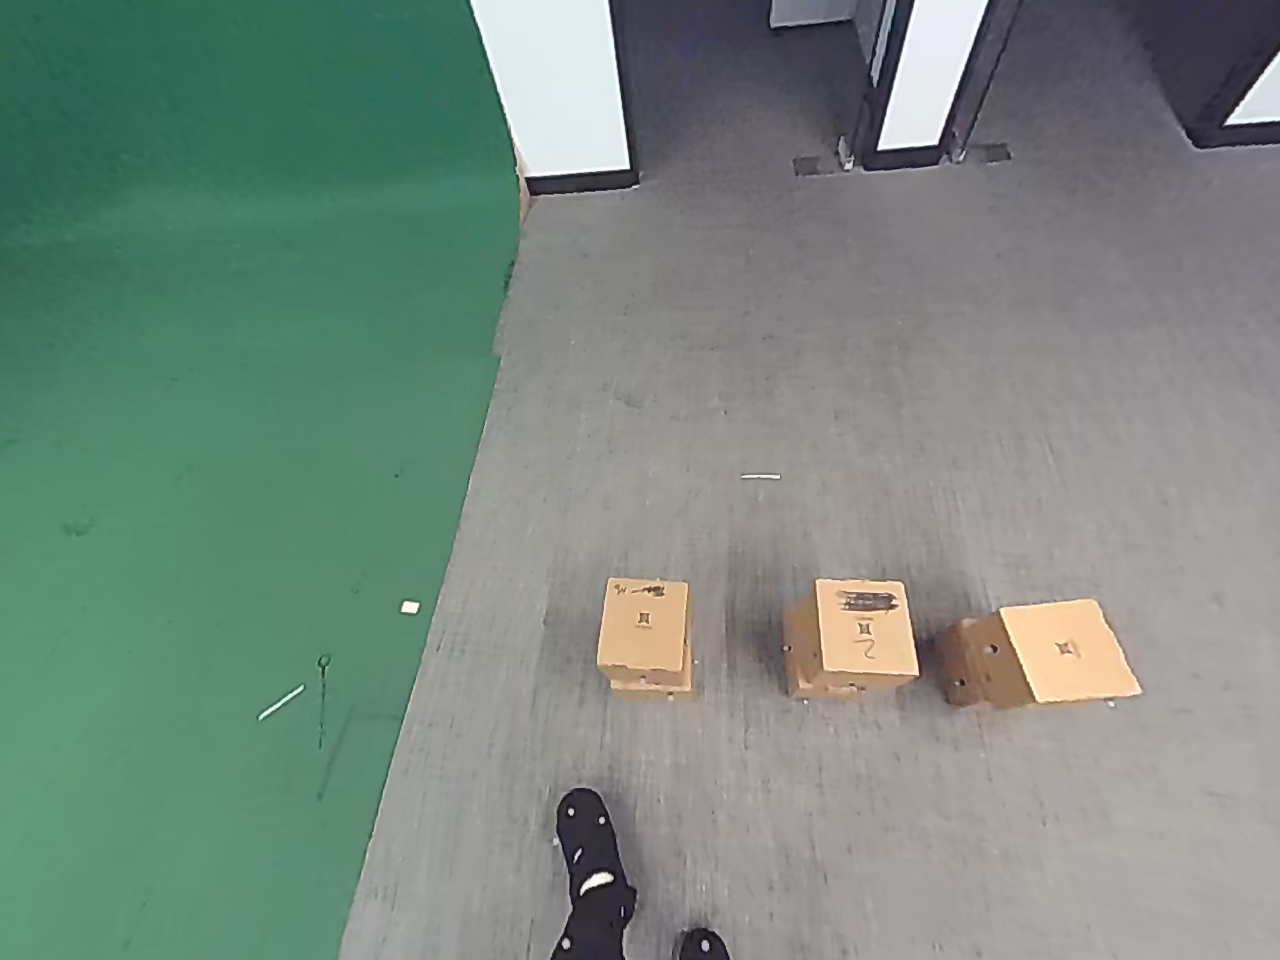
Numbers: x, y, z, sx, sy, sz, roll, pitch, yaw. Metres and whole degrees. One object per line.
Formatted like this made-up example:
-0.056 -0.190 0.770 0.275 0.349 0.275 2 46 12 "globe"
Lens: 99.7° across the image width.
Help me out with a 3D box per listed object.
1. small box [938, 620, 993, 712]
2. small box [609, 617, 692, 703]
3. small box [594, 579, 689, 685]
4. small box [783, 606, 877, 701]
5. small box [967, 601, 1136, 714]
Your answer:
0.768 0.405 1.167 0.179 0.176 0.168 -2 61 6 "small box"
0.032 0.418 1.259 0.179 0.176 0.168 -1 60 7 "small box"
0.012 0.321 1.127 0.168 0.176 0.179 3 61 9 "small box"
0.418 0.396 1.219 0.168 0.176 0.179 0 60 7 "small box"
0.752 0.340 1.019 0.179 0.176 0.168 -7 60 3 "small box"
